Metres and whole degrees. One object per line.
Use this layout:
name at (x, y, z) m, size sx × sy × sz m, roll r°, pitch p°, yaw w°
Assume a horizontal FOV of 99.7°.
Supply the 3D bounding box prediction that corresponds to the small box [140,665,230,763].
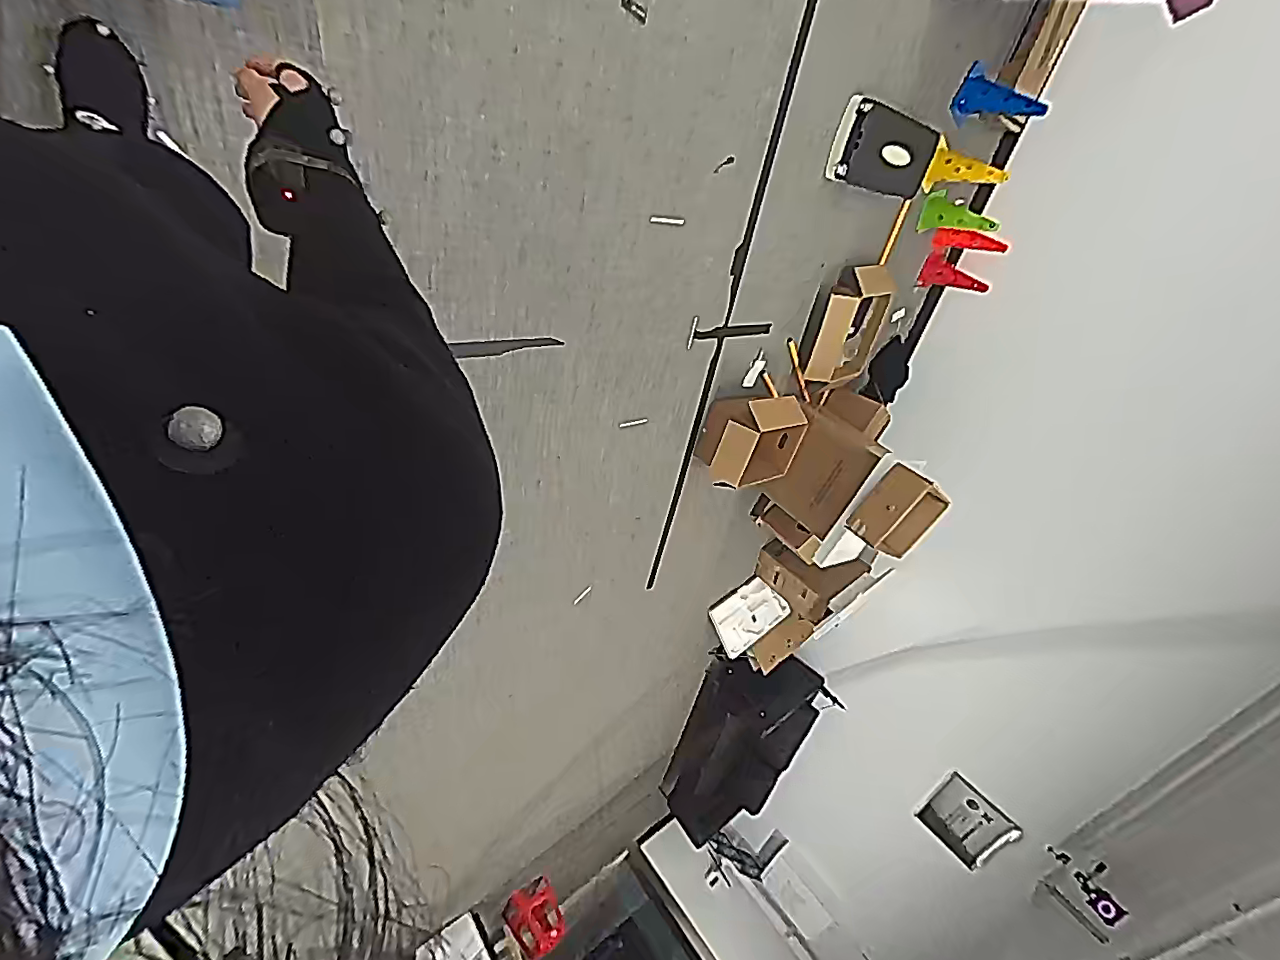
small box at (-1.352, 0.690, 1.610) m, size 0.168 × 0.176 × 0.179 m, roll -18°, pitch 134°, yaw -37°
